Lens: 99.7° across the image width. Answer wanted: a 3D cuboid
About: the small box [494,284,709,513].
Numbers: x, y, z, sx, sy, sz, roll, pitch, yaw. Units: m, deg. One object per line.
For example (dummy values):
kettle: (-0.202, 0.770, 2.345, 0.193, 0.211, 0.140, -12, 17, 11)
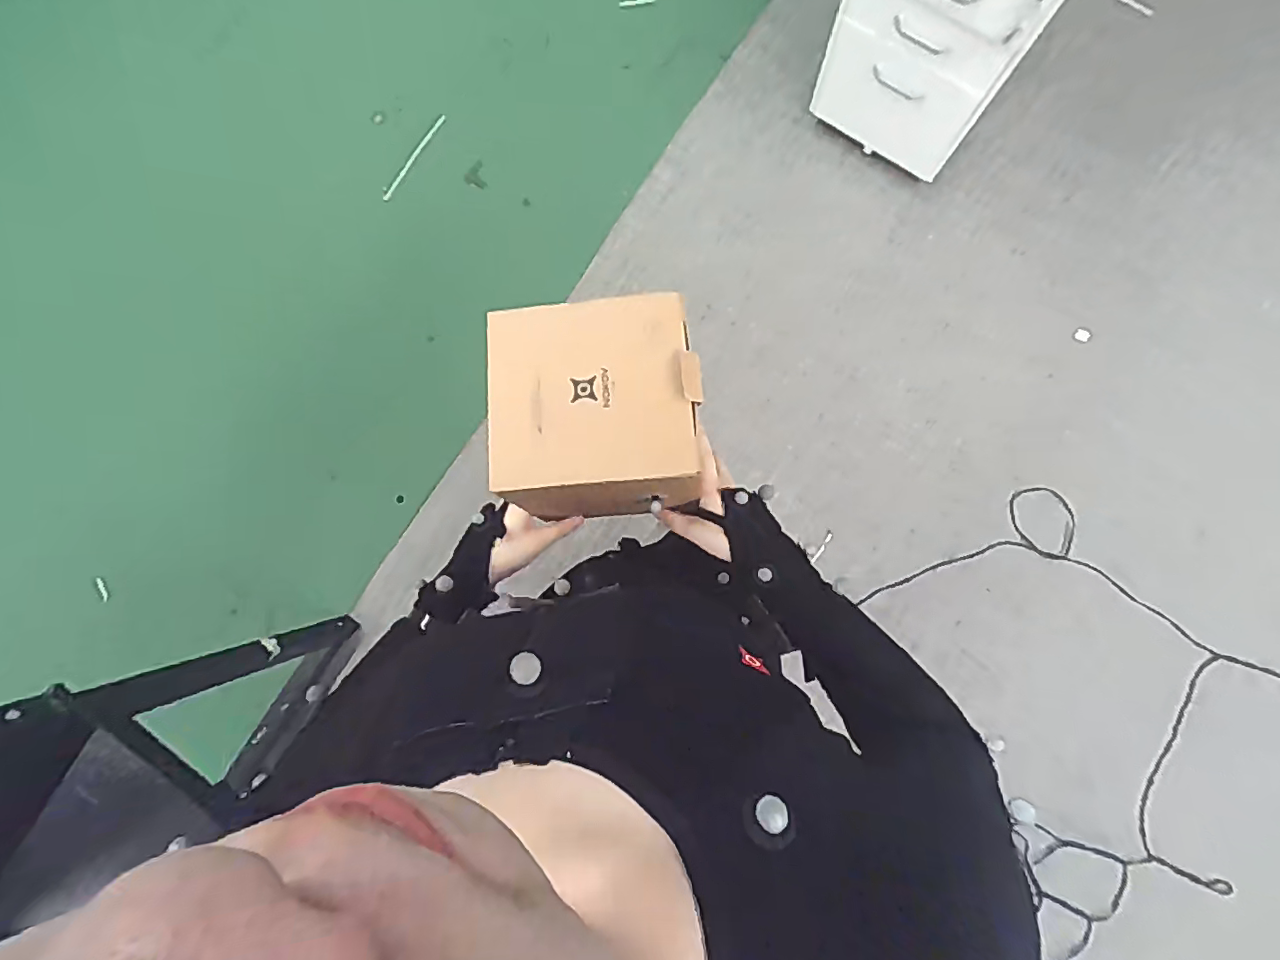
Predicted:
small box: (-0.030, -0.065, 0.528, 0.179, 0.176, 0.168, -5, 77, 5)
